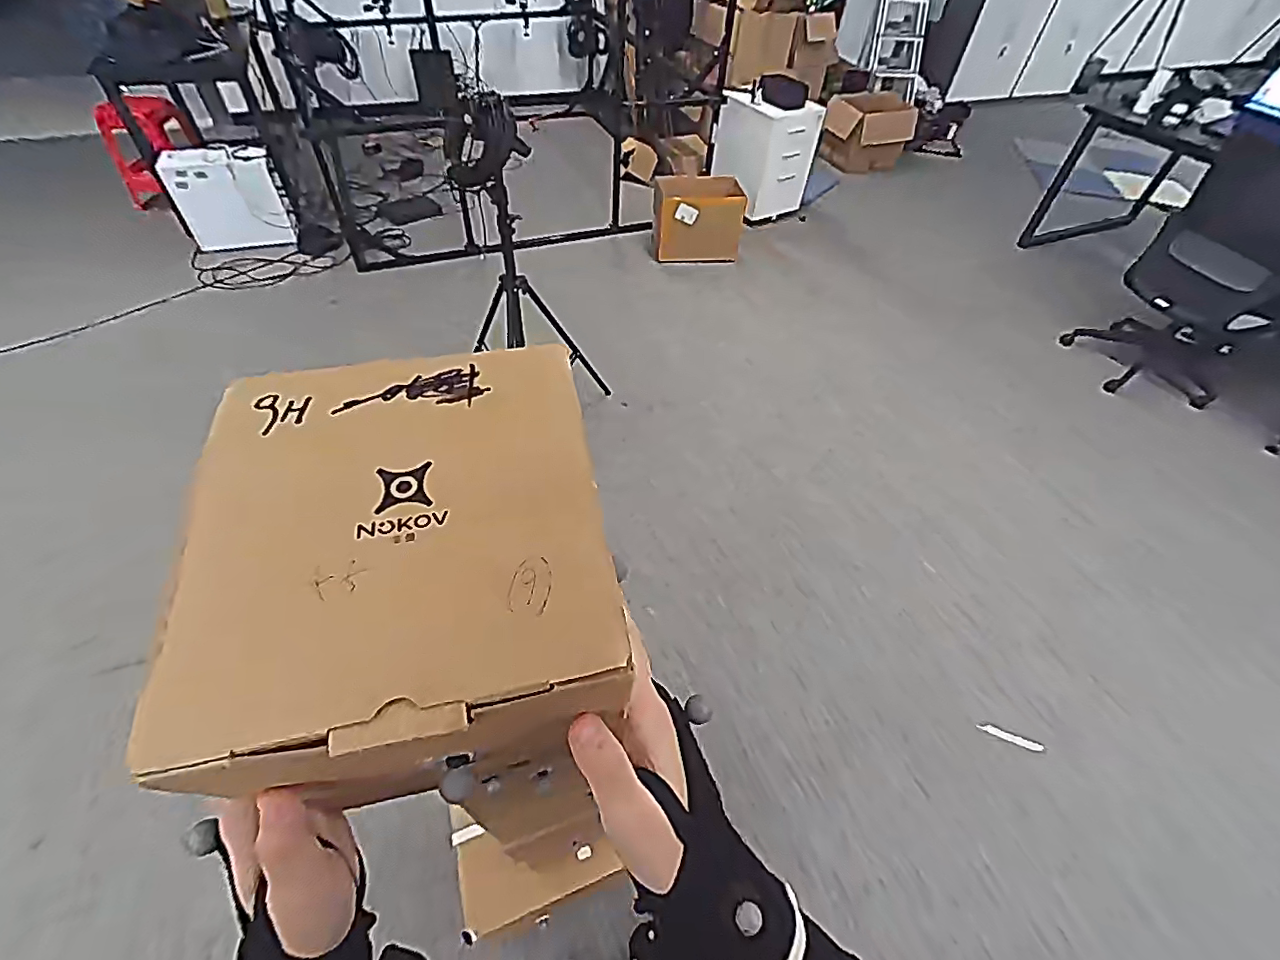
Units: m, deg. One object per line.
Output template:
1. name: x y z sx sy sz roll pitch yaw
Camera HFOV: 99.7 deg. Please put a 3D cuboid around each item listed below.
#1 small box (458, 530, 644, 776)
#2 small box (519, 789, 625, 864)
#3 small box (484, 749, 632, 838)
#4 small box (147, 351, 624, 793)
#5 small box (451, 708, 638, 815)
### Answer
1. small box: -0.103 0.137 0.476 0.168 0.176 0.179 -14 52 -15
2. small box: -0.138 0.561 0.974 0.179 0.176 0.168 -17 54 -19
3. small box: -0.123 0.348 0.724 0.179 0.176 0.168 -14 52 -16
4. small box: -0.104 0.059 0.298 0.168 0.176 0.179 -9 58 -9
5. small box: -0.114 0.244 0.601 0.179 0.176 0.168 -14 53 -15
